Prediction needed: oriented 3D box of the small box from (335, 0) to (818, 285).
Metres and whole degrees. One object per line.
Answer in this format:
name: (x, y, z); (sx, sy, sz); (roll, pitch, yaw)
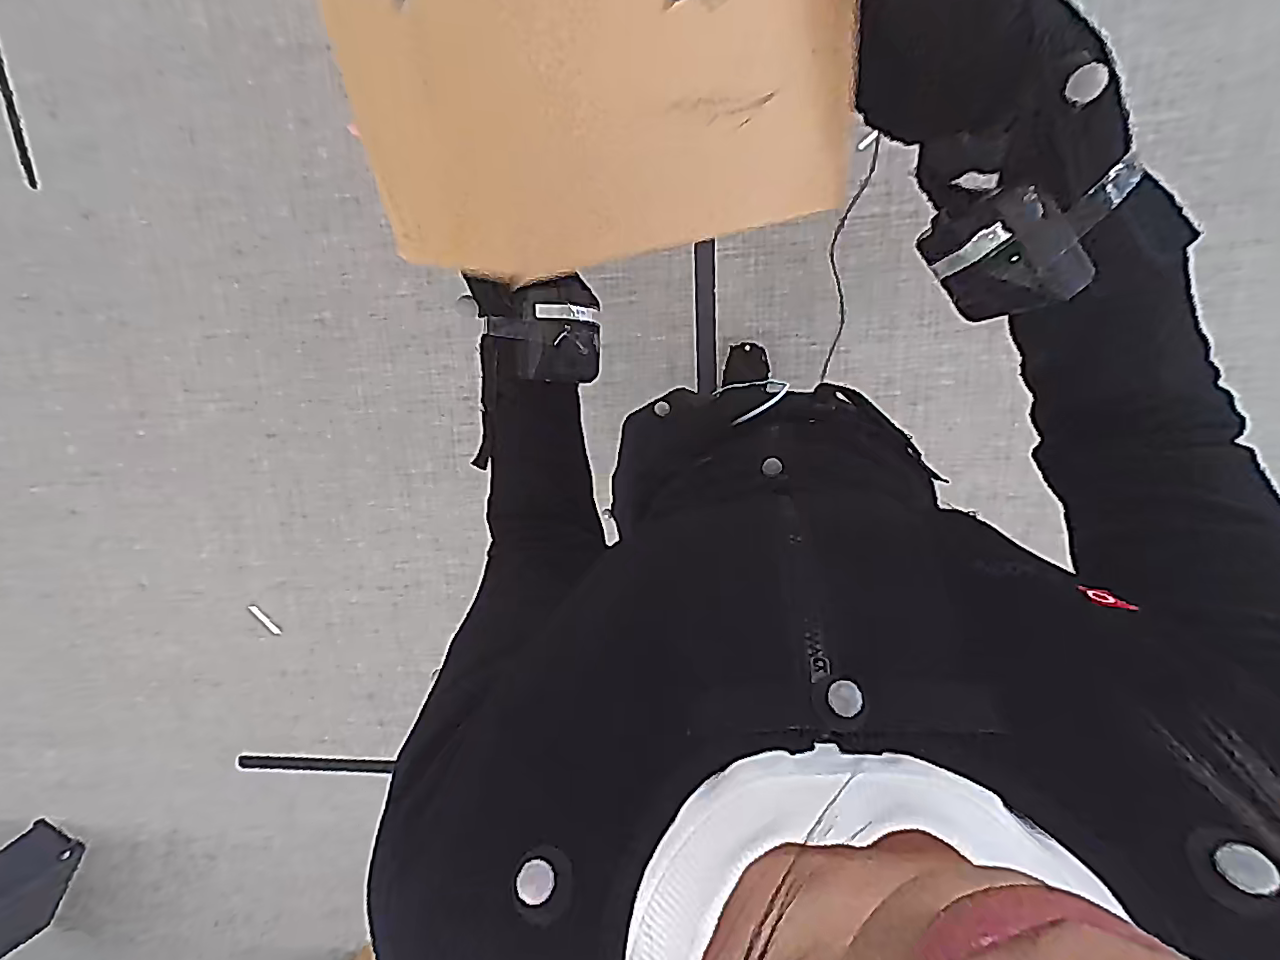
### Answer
small box: (-0.038, -0.203, 0.257); (0.168, 0.176, 0.179); (-23, 122, -22)
